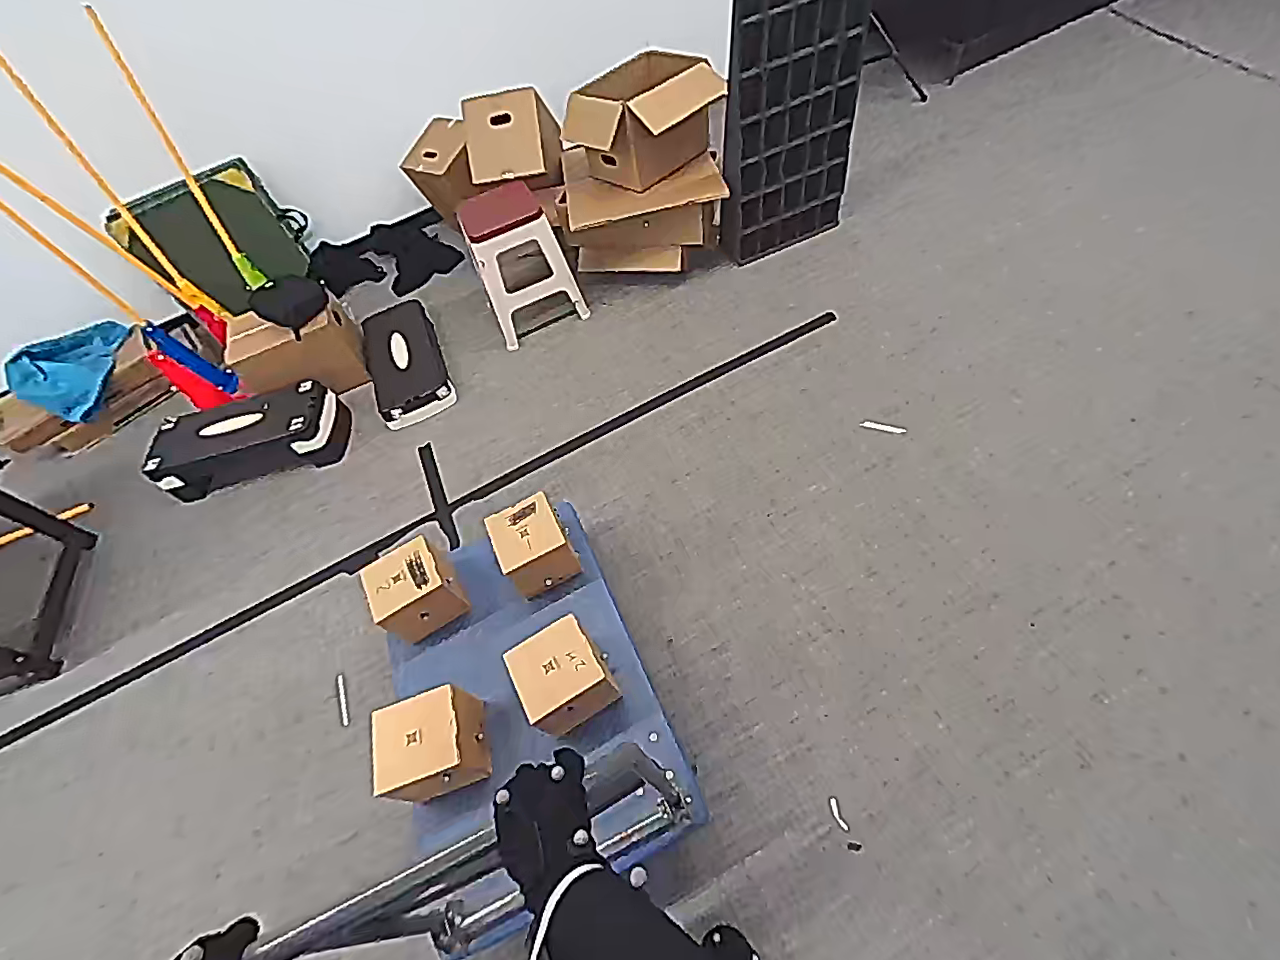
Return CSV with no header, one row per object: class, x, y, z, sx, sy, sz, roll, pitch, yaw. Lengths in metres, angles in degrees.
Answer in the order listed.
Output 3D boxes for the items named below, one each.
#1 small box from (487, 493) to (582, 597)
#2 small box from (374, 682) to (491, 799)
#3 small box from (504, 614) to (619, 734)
small box,-0.270,0.171,1.396,0.168,0.176,0.179,-26,56,-7
small box,-0.444,0.565,1.164,0.179,0.176,0.168,-20,54,-4
small box,-0.168,0.433,1.196,0.179,0.176,0.168,-30,56,-9
